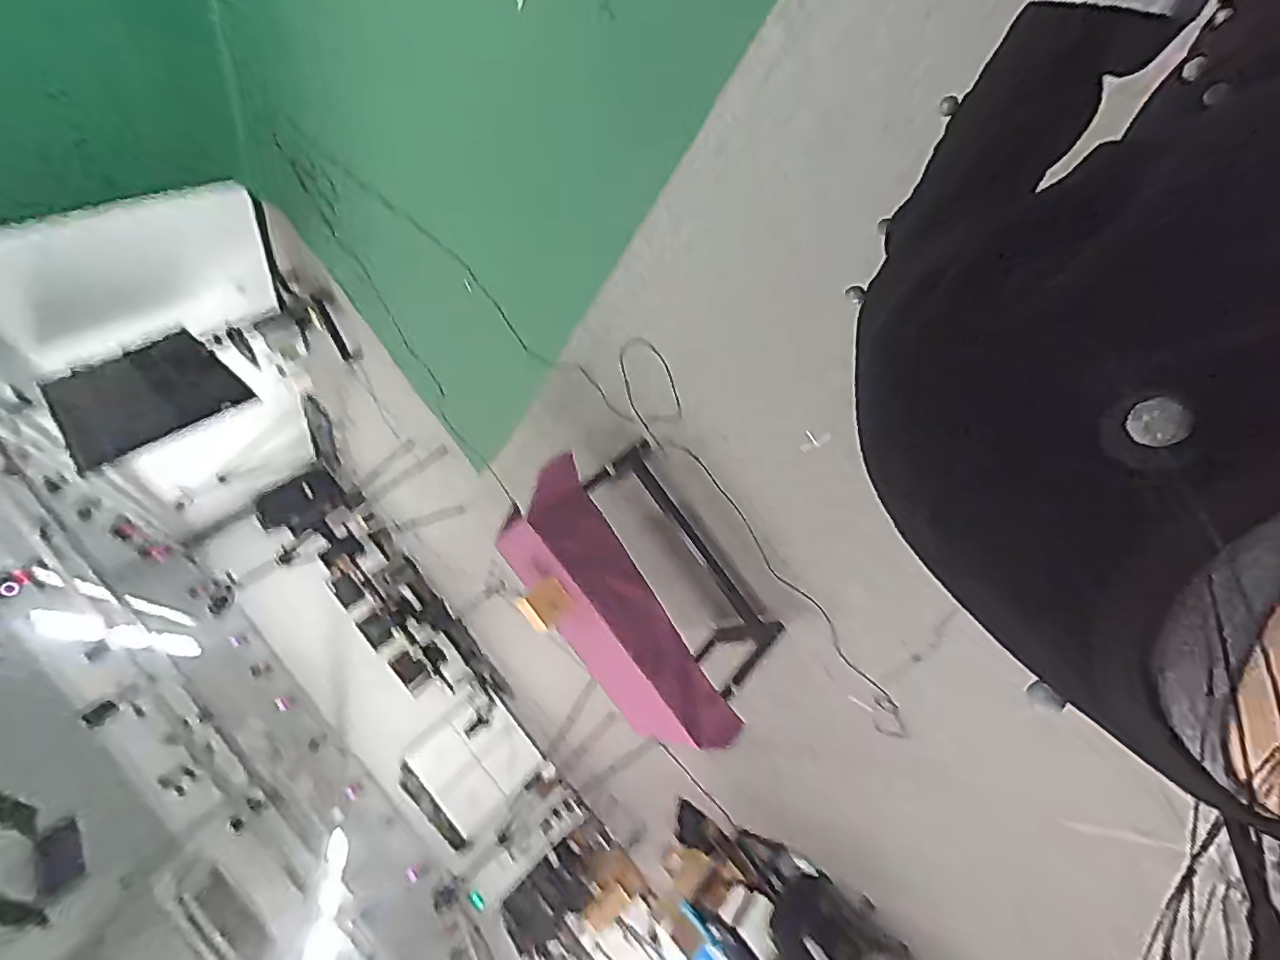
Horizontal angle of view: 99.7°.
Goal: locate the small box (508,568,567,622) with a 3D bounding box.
[{"bbox_3d":[-0.442,0.500,2.364,0.168,0.176,0.179,54,149,-5],"label":"small box"}]
